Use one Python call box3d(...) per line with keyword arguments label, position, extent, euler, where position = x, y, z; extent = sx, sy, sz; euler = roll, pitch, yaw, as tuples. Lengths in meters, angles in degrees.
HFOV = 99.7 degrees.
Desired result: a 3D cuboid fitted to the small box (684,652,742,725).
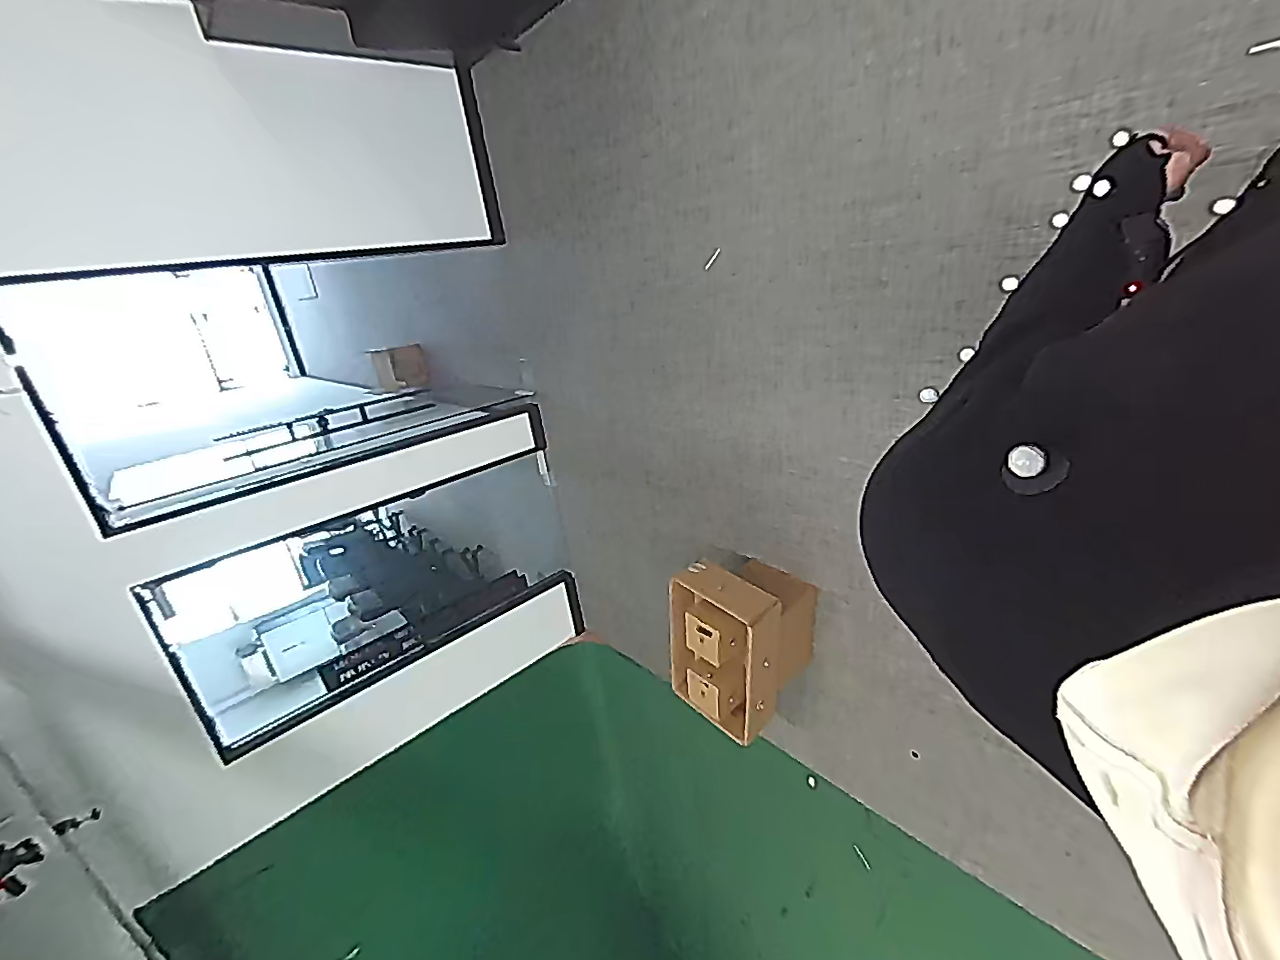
box3d(label="small box", position=(0.295, 0.828, 2.162), extent=(0.168, 0.176, 0.179), euler=(21, 125, 45))
